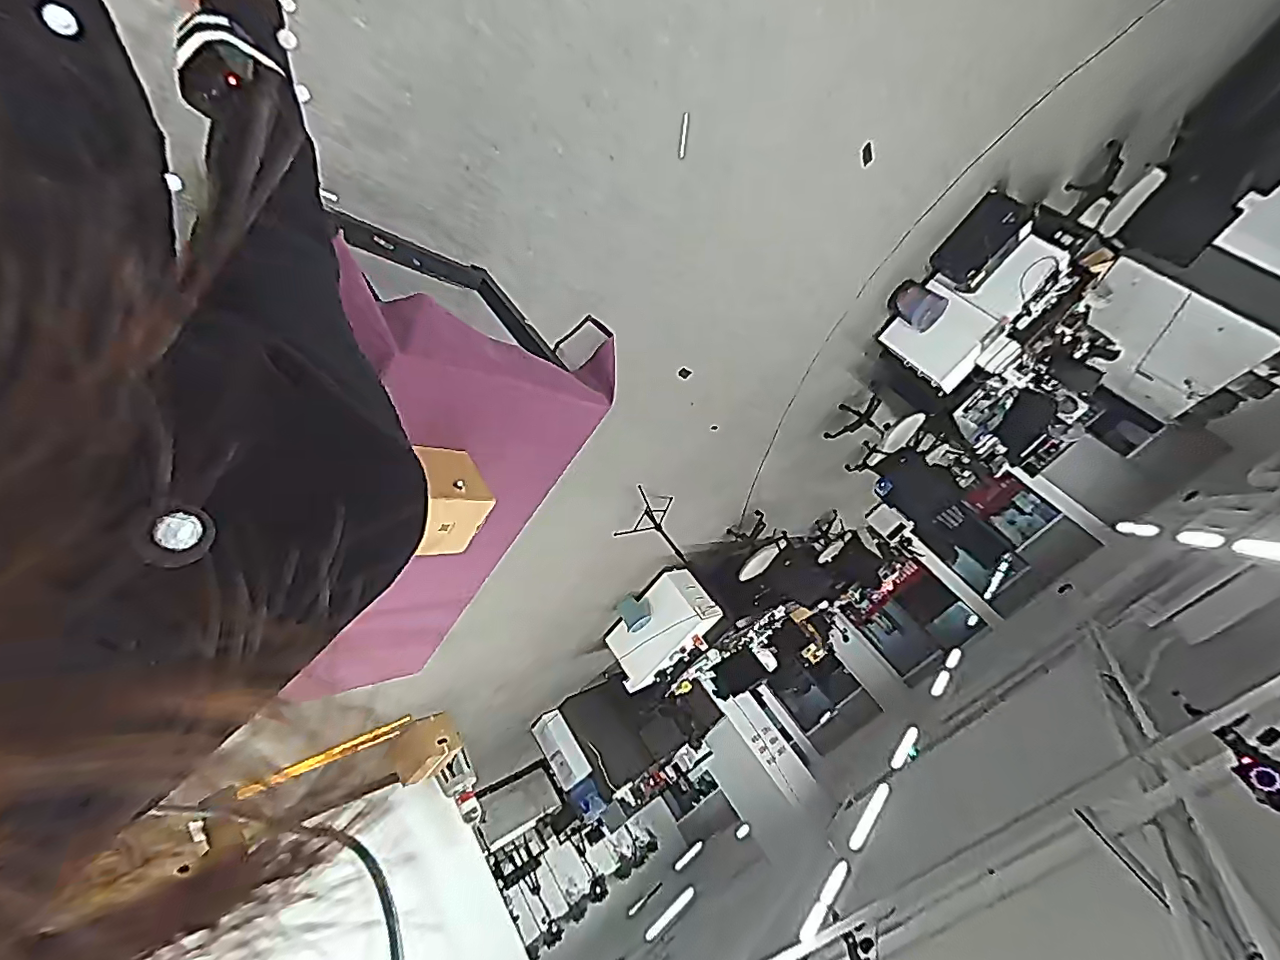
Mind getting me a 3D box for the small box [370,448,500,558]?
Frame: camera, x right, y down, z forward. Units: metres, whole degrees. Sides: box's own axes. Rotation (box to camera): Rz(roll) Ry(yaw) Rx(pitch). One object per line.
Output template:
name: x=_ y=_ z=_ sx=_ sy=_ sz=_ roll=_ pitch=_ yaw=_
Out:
small box: x=-0.443 y=0.048 z=1.163 sx=0.168 sy=0.176 sz=0.179 roll=-51 pitch=150 yaw=21
